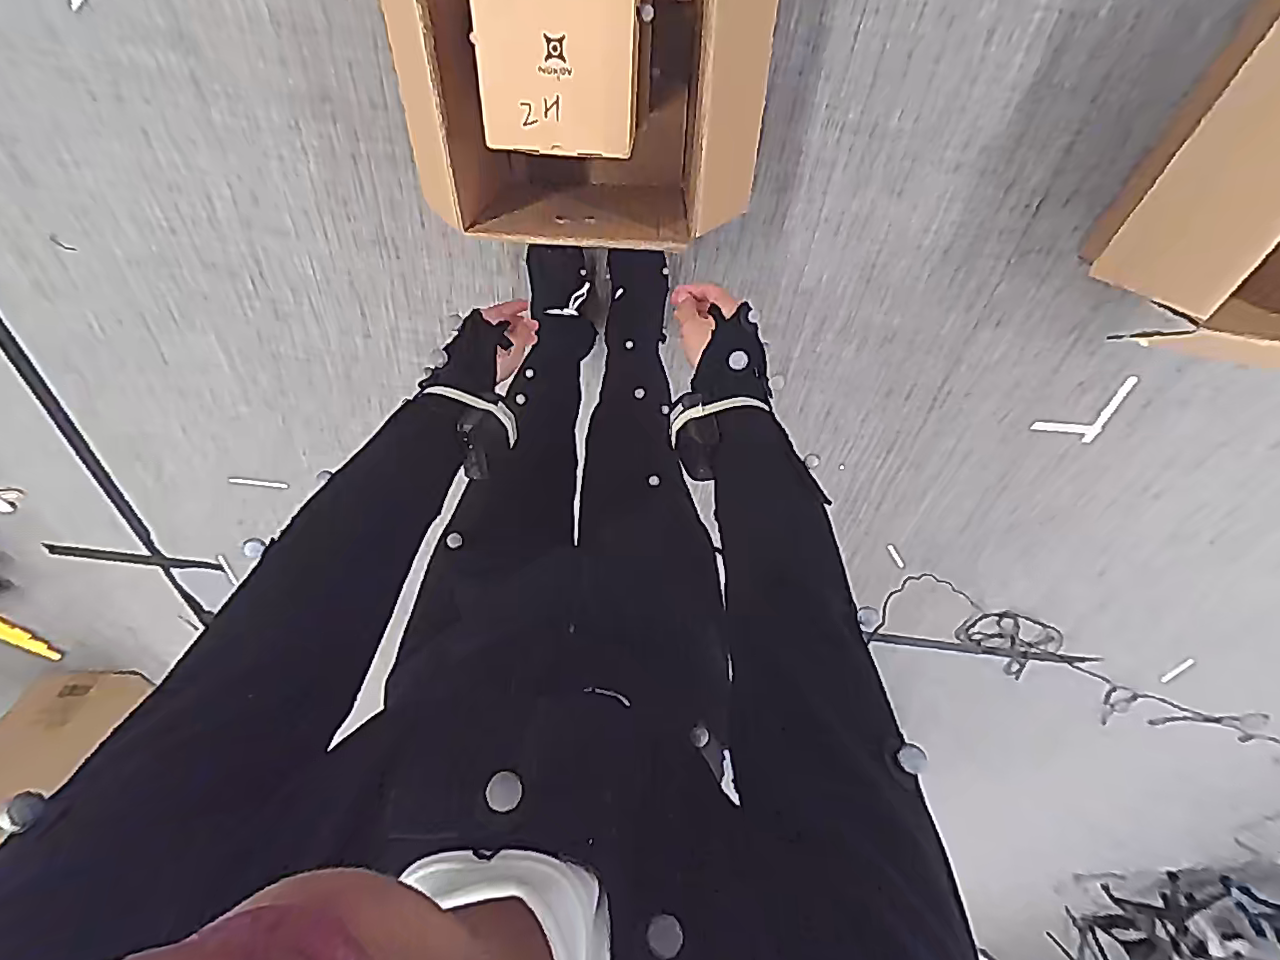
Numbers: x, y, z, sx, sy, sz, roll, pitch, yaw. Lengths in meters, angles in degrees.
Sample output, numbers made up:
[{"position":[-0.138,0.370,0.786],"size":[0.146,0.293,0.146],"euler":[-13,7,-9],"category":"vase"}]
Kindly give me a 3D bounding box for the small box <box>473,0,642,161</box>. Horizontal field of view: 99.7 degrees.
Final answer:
[{"position":[-0.086,-0.490,0.626],"size":[0.168,0.176,0.179],"euler":[4,131,0],"category":"small box"}]
